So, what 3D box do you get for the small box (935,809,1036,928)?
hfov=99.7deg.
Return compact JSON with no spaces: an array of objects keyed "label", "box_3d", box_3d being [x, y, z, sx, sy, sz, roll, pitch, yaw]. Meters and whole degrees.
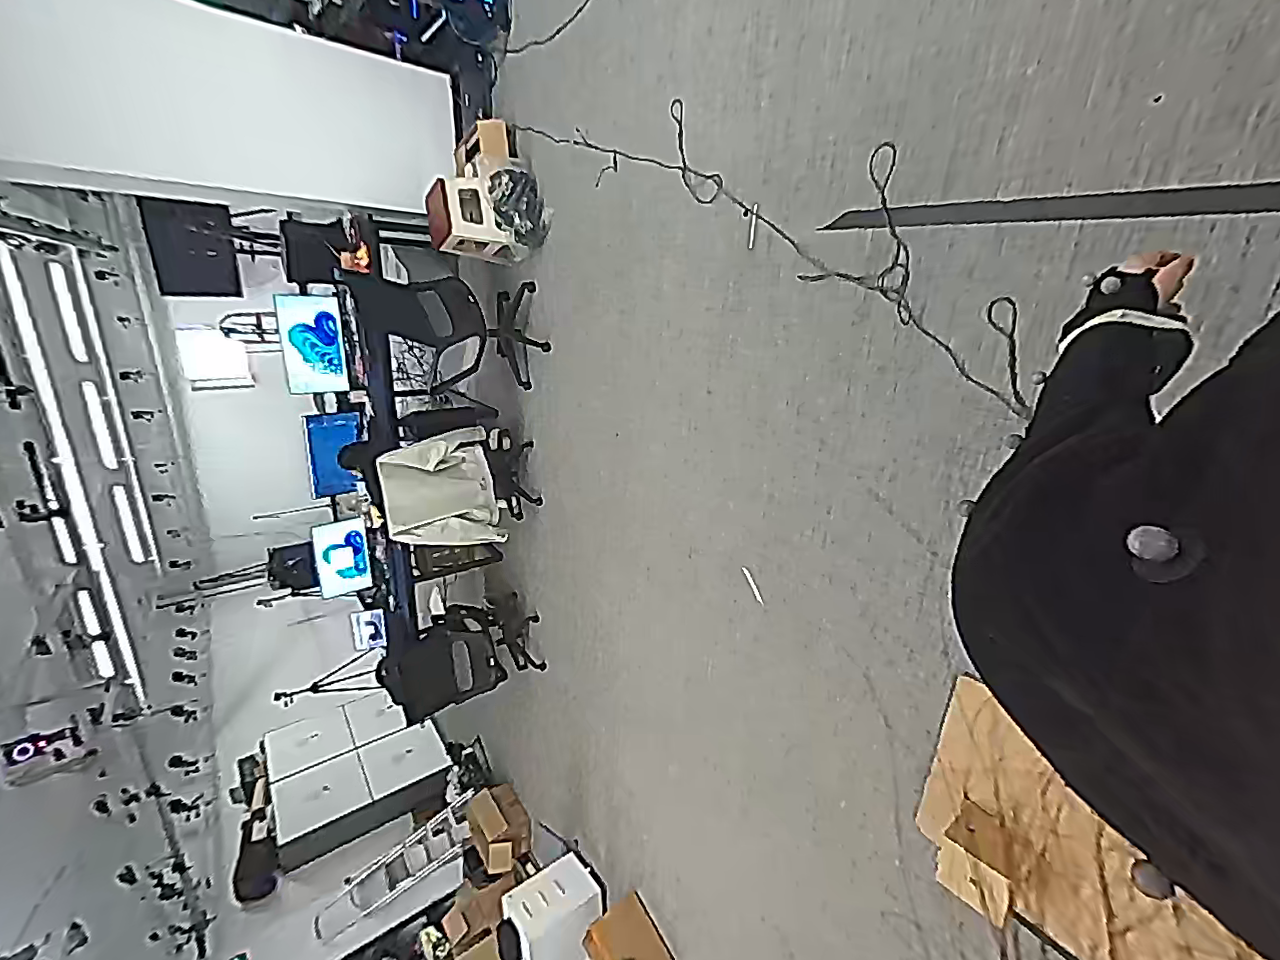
[{"label":"small box","box_3d":[0.945,1.048,1.482,0.179,0.176,0.168,18,115,49]}]
